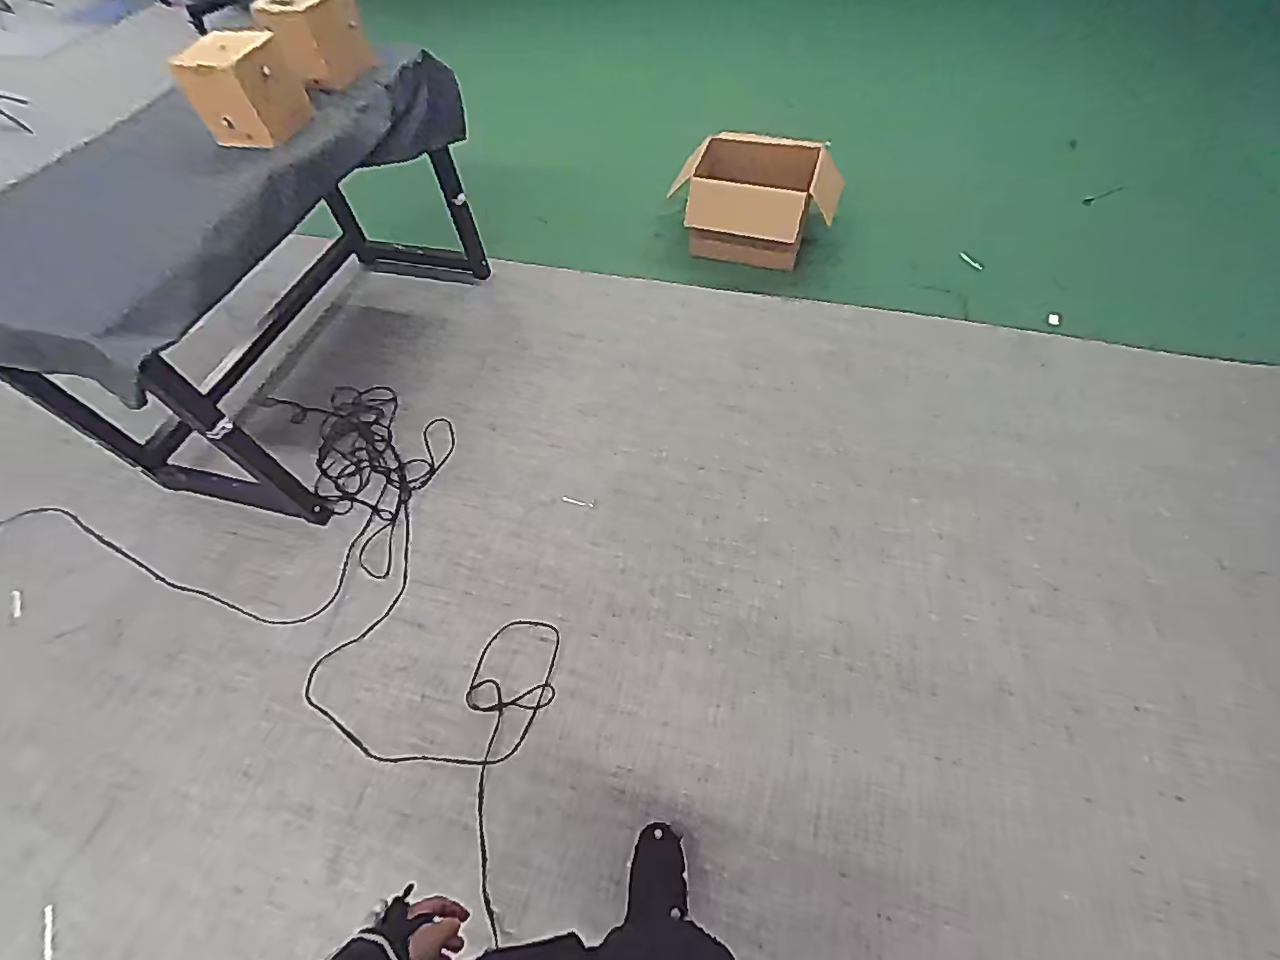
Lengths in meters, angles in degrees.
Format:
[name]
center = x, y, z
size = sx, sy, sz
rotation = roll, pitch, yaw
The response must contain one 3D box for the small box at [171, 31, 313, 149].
[small box]
center = -0.903, -0.901, 1.252
size = 0.168, 0.176, 0.179
rotation = 9, 59, 10
